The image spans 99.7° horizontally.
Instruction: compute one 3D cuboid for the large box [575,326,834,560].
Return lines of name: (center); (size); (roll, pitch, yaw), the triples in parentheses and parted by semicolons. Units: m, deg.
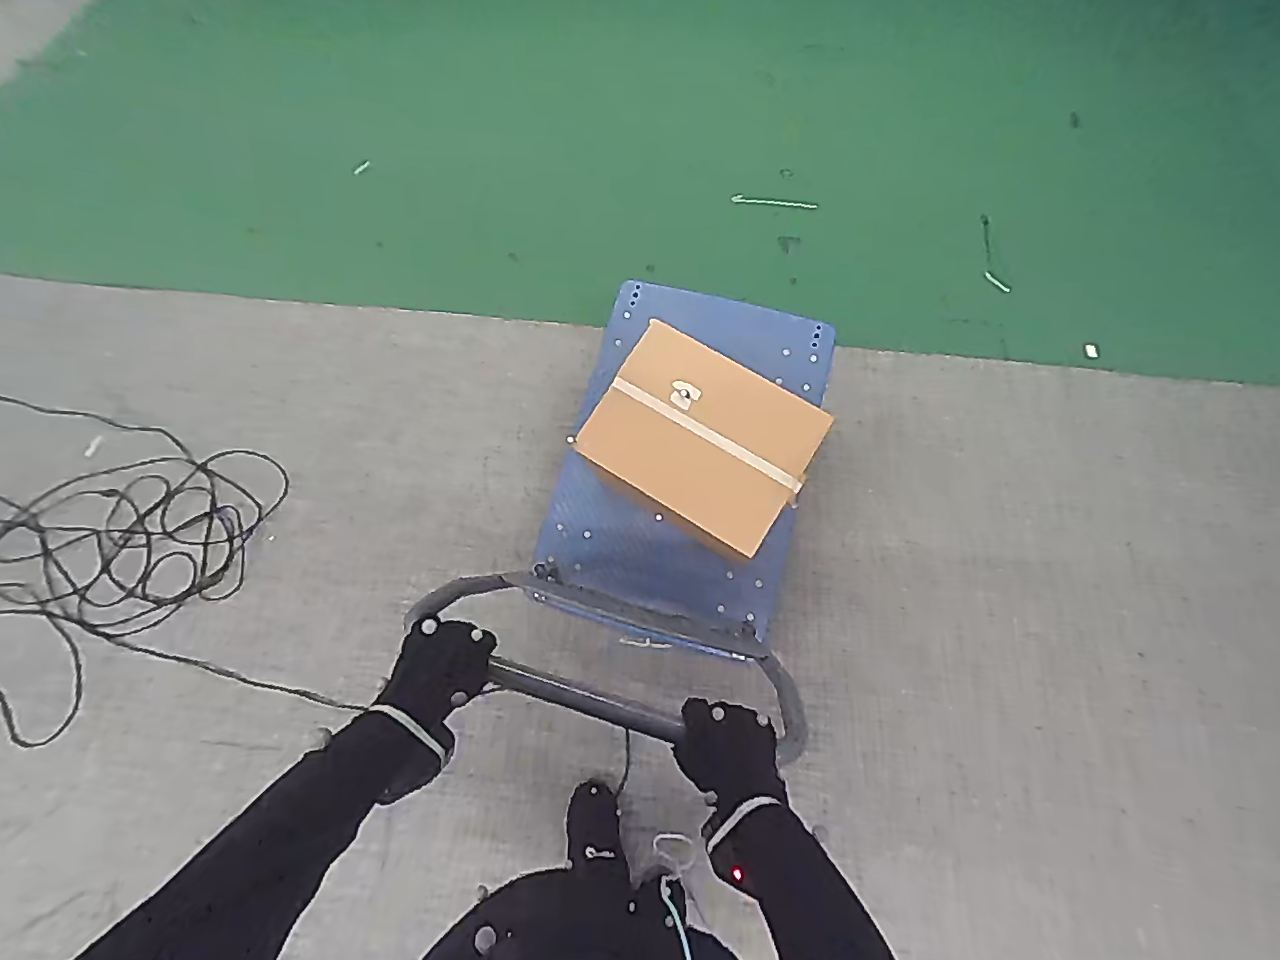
large box: (0.135, -0.058, 1.170); (0.408, 0.320, 0.320); (31, 83, 11)
